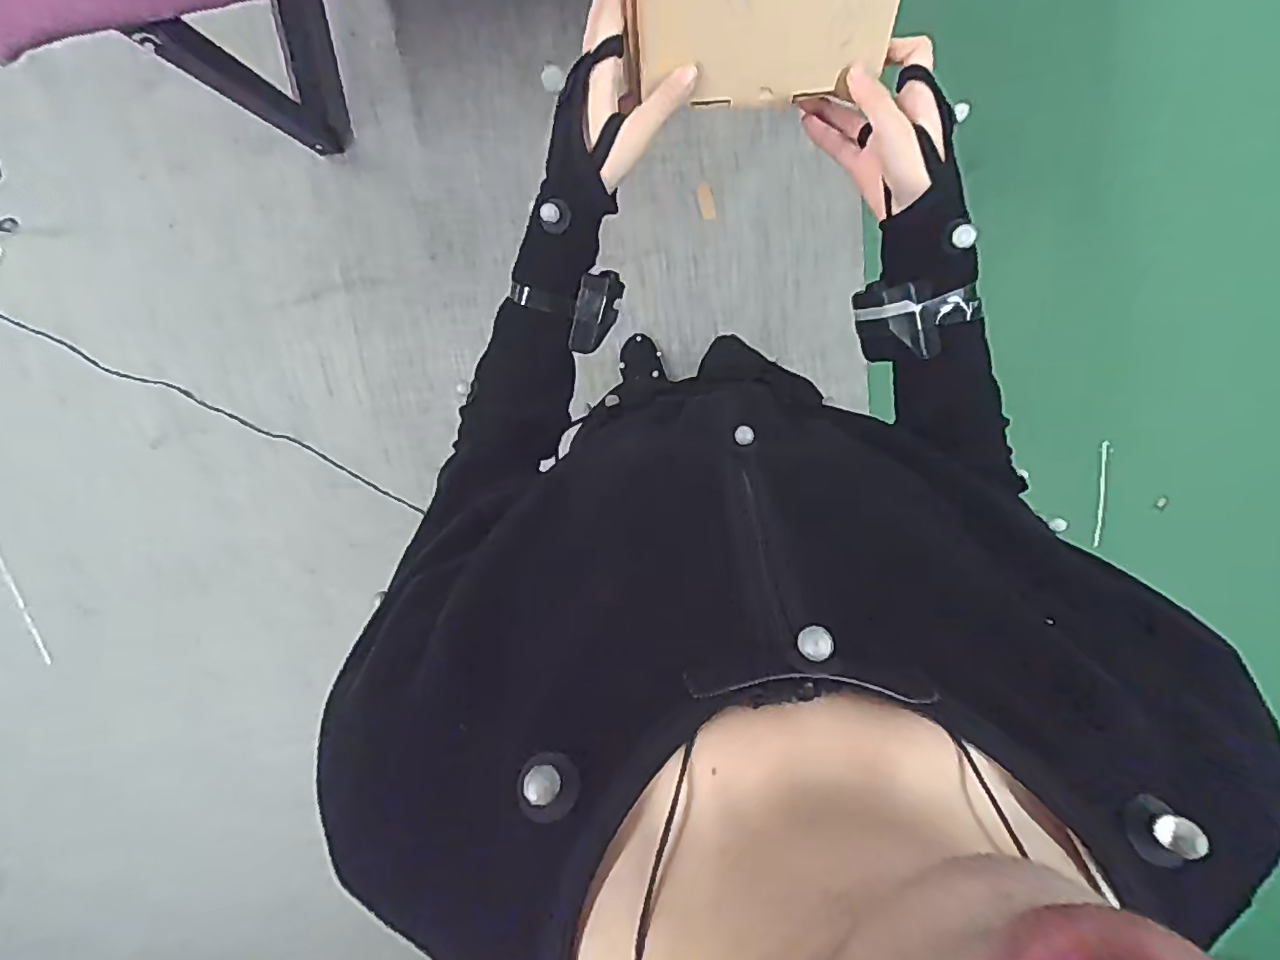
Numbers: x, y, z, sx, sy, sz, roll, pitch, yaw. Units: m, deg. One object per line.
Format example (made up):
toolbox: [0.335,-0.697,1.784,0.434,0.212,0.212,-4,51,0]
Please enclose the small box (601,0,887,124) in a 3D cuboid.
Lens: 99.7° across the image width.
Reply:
small box: [0.061,-0.369,0.361,0.168,0.176,0.179,-9,139,-5]
